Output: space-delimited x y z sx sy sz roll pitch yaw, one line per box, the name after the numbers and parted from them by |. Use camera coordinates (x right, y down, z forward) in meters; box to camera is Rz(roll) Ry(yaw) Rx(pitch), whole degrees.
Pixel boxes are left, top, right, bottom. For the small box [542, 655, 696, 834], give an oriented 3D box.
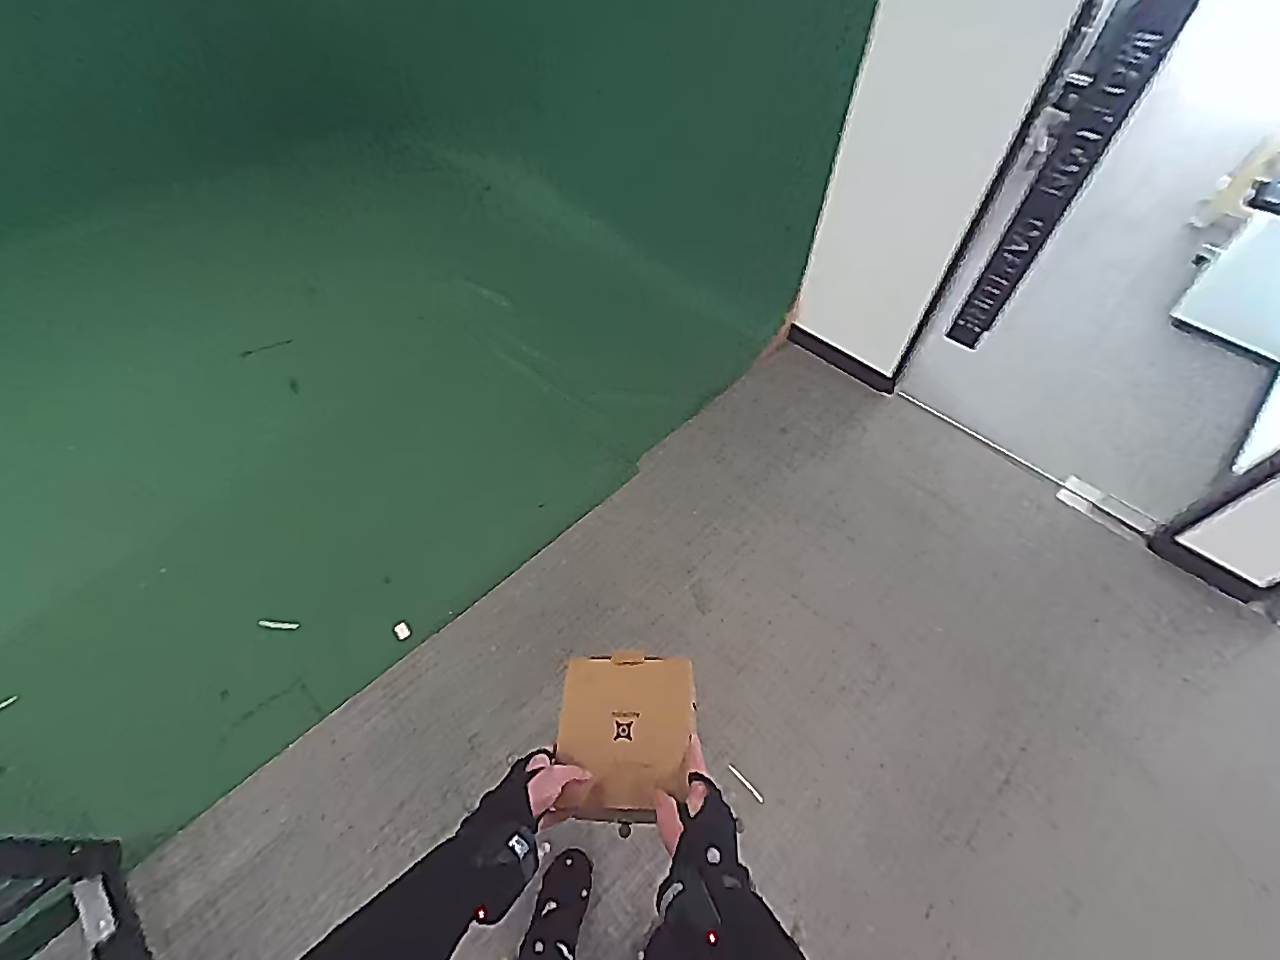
-0.014 0.348 0.712 0.168 0.176 0.179 -1 53 9 | small box
